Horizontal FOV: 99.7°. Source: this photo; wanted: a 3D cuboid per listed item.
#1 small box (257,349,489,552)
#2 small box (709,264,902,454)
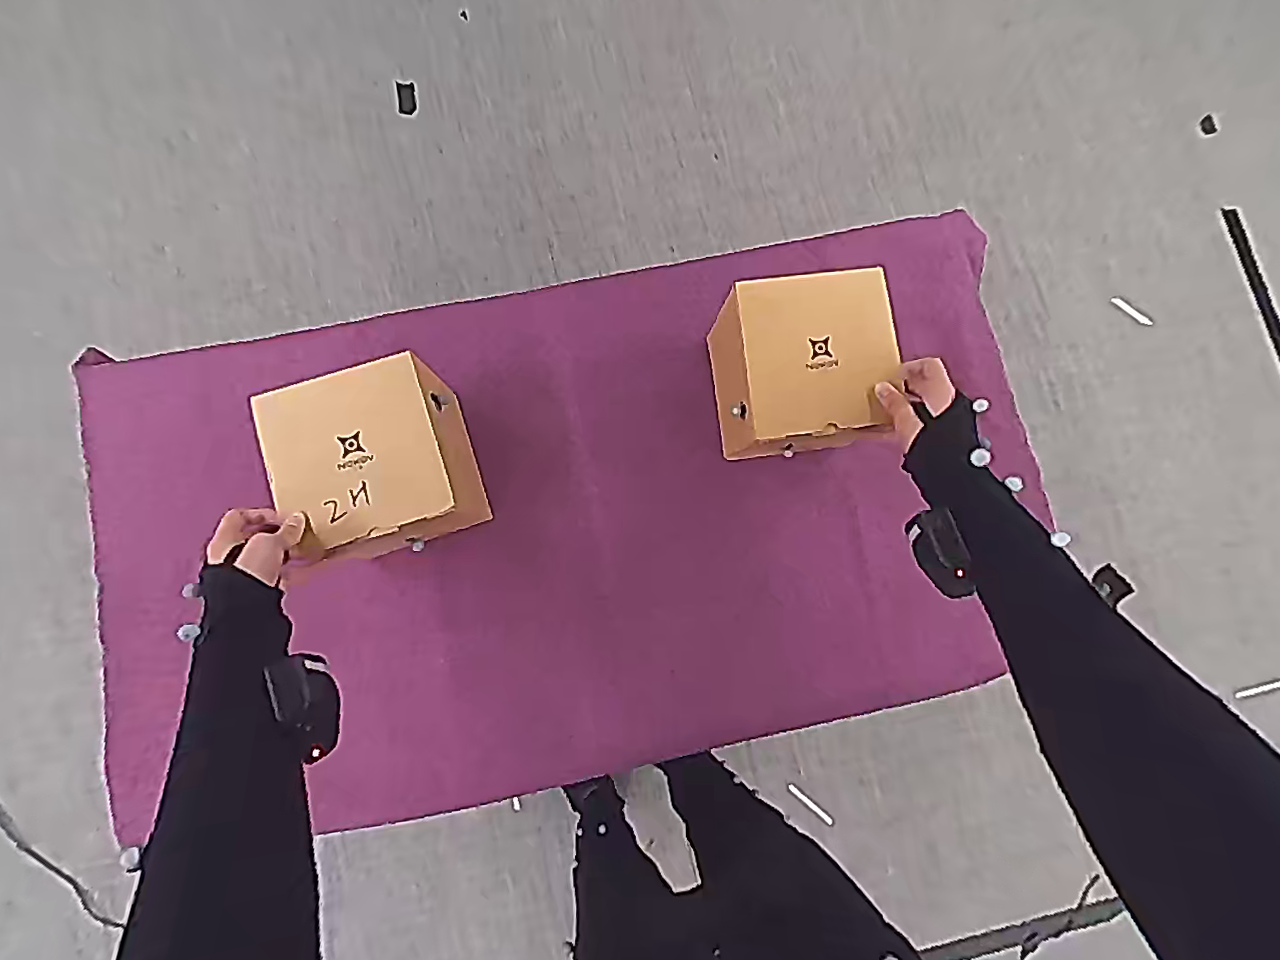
[{"bbox_3d":[-0.291,-0.022,0.624,0.168,0.176,0.179,-18,84,-5],"label":"small box"},{"bbox_3d":[0.185,-0.135,0.658,0.168,0.176,0.179,-8,87,-3],"label":"small box"}]
